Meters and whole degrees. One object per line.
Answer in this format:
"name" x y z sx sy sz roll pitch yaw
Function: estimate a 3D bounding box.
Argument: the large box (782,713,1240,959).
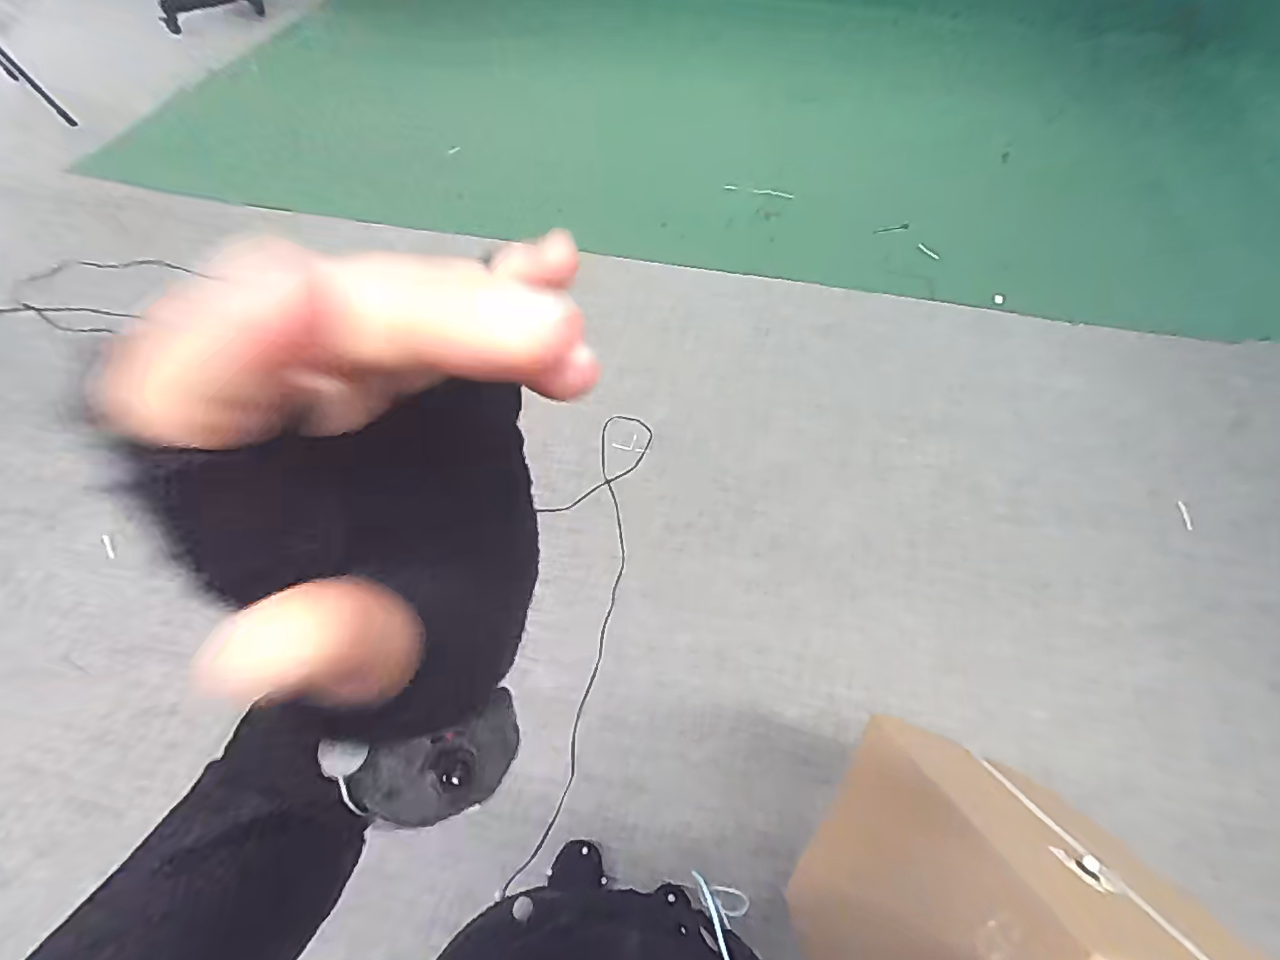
"large box" 0.409 0.553 0.610 0.320 0.408 0.320 25 93 -1
